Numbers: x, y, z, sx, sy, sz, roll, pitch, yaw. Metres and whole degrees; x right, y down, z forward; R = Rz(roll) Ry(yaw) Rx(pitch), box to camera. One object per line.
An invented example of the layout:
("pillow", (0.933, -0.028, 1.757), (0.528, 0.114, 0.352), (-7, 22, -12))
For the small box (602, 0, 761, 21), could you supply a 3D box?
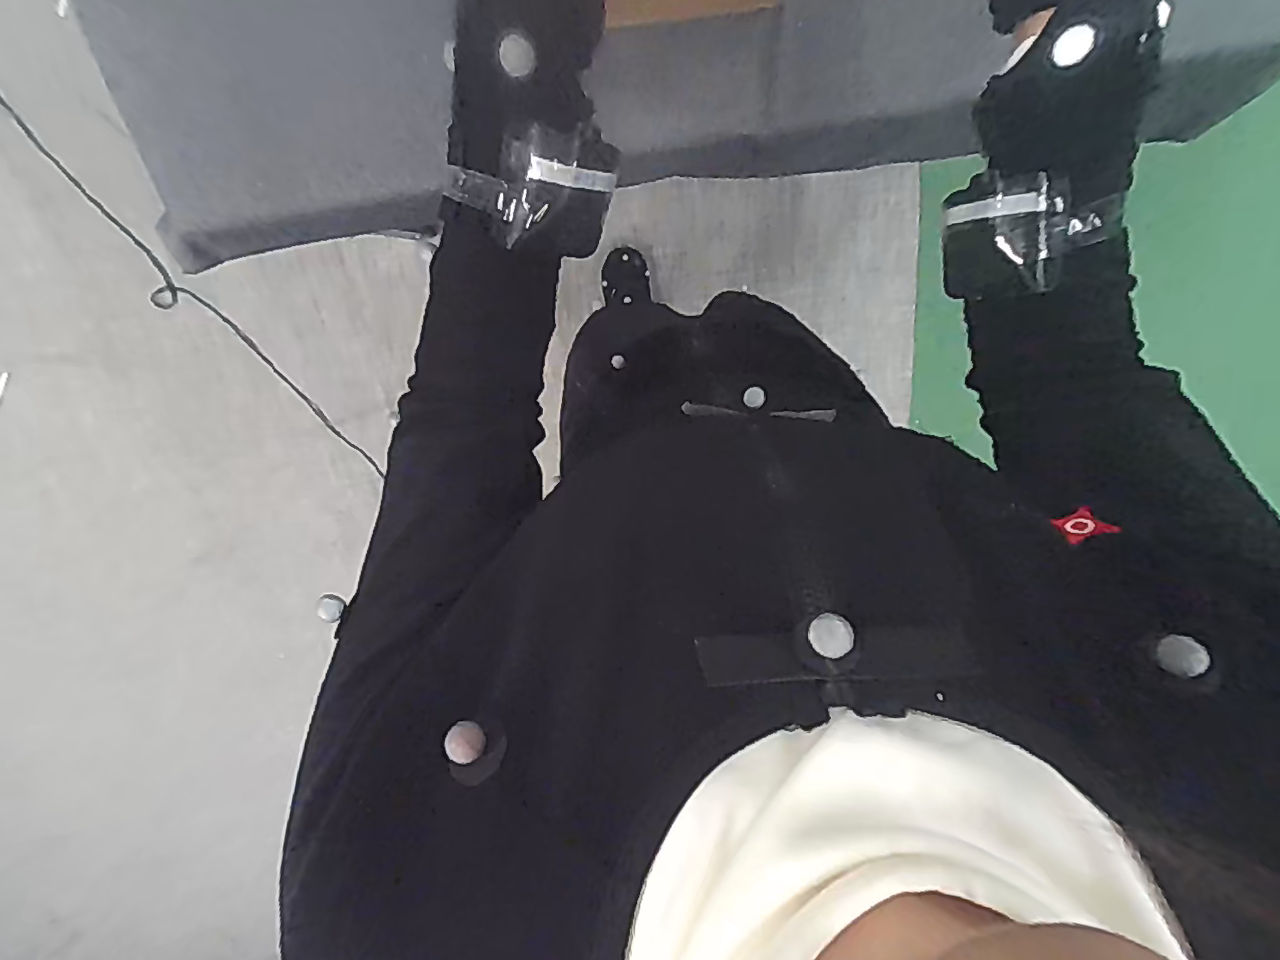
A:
("small box", (0.043, -0.493, 0.416), (0.179, 0.176, 0.168), (-9, 113, -1))
